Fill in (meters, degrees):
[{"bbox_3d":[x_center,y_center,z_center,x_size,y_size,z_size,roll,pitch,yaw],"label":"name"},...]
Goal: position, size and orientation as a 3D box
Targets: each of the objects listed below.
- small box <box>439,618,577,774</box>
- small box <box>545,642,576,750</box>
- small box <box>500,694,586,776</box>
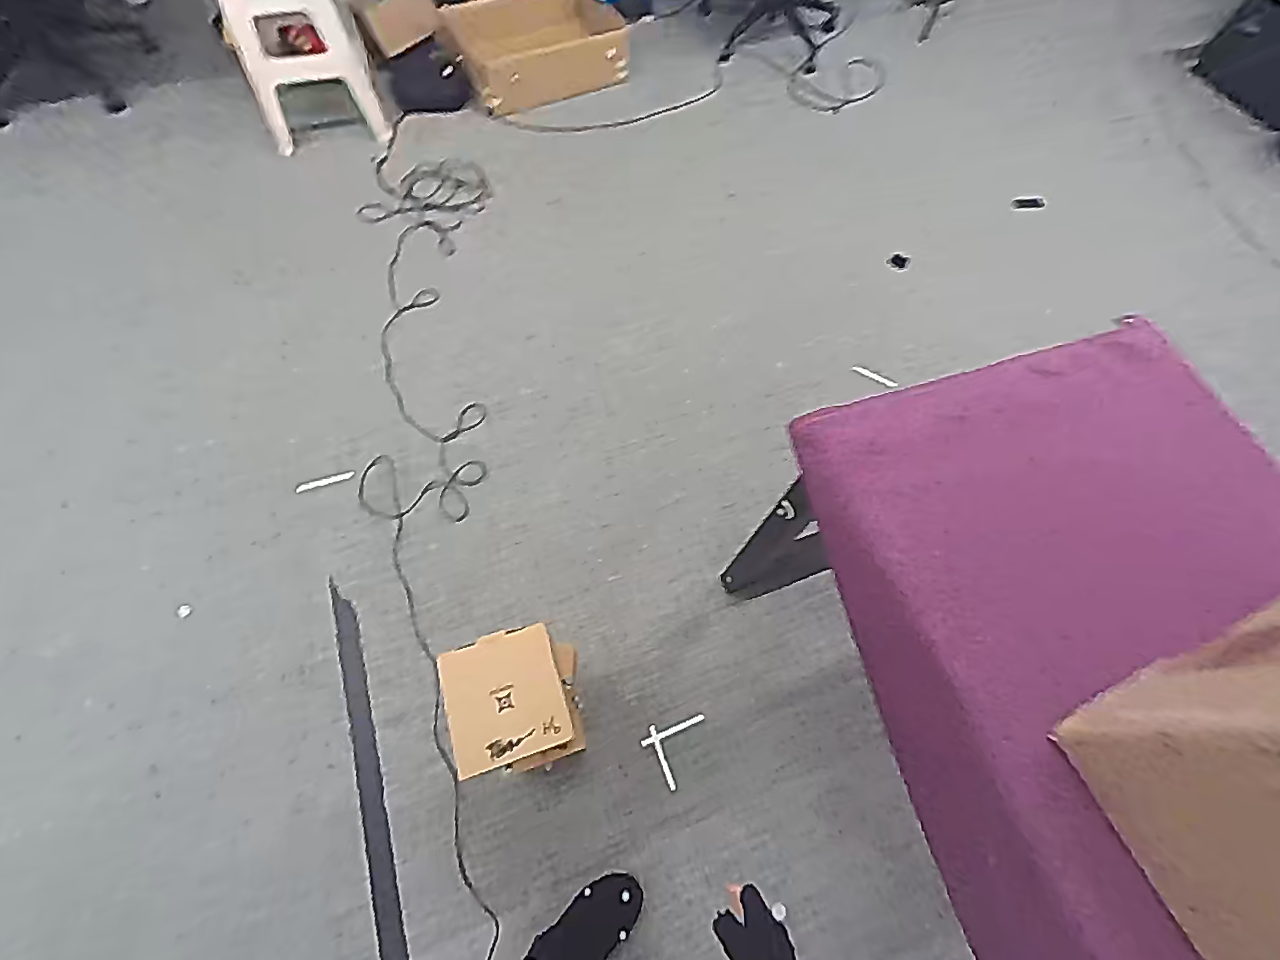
[{"bbox_3d":[-0.201,0.341,0.851,0.168,0.176,0.179,-16,67,-12],"label":"small box"},{"bbox_3d":[-0.208,0.401,1.003,0.168,0.176,0.179,2,64,-4],"label":"small box"},{"bbox_3d":[-0.215,0.498,1.137,0.168,0.176,0.179,-16,68,-11],"label":"small box"}]
